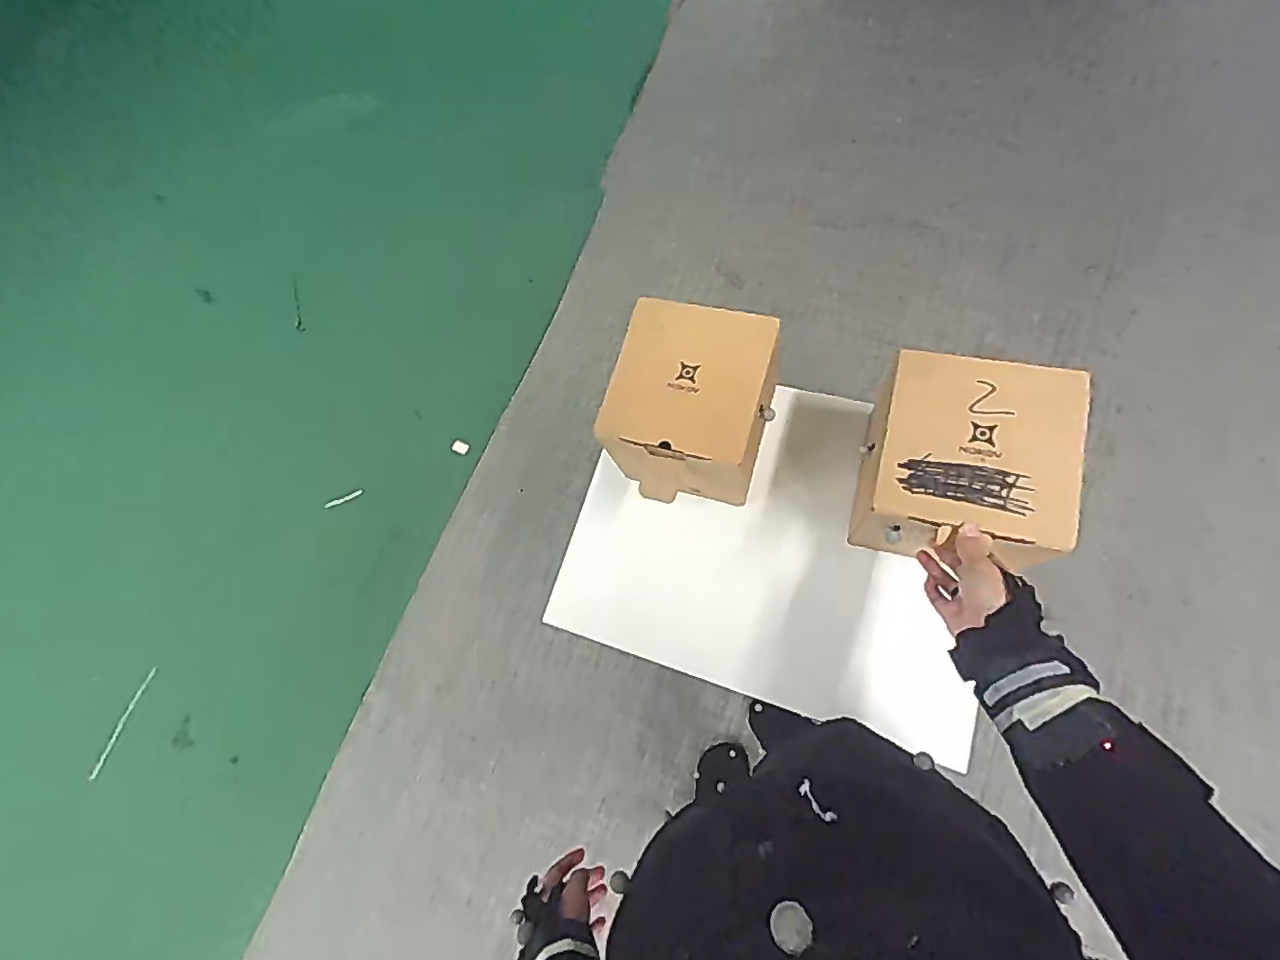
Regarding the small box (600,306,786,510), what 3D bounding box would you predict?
[{"bbox_3d":[0.071,-0.080,0.661,0.168,0.176,0.179,14,77,15],"label":"small box"}]
